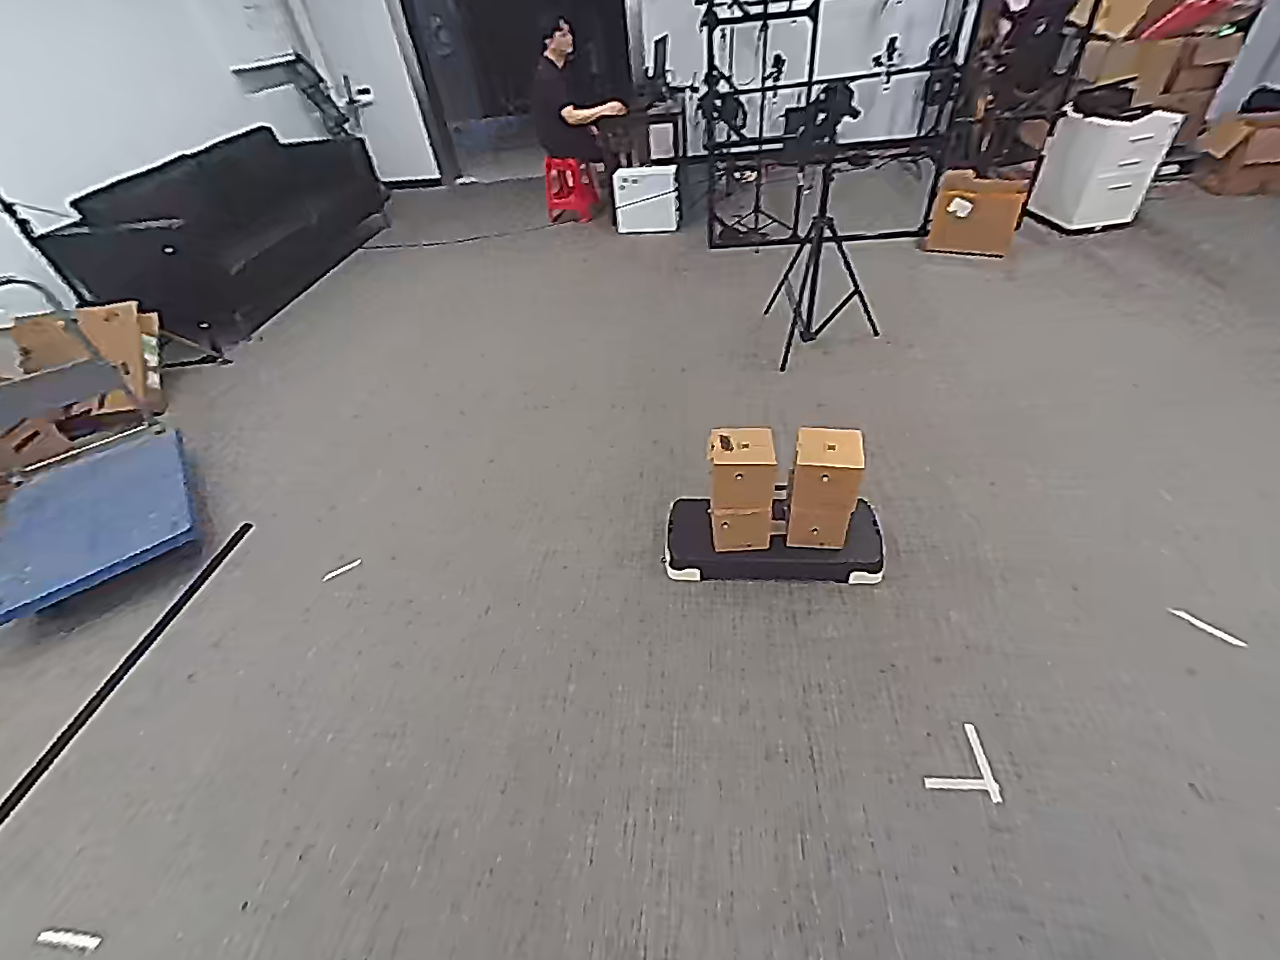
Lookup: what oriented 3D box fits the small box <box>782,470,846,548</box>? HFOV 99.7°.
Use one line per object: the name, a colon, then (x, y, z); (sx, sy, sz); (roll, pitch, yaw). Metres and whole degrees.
small box: (0.529, 0.091, 1.657); (0.168, 0.176, 0.179); (2, 43, 11)
